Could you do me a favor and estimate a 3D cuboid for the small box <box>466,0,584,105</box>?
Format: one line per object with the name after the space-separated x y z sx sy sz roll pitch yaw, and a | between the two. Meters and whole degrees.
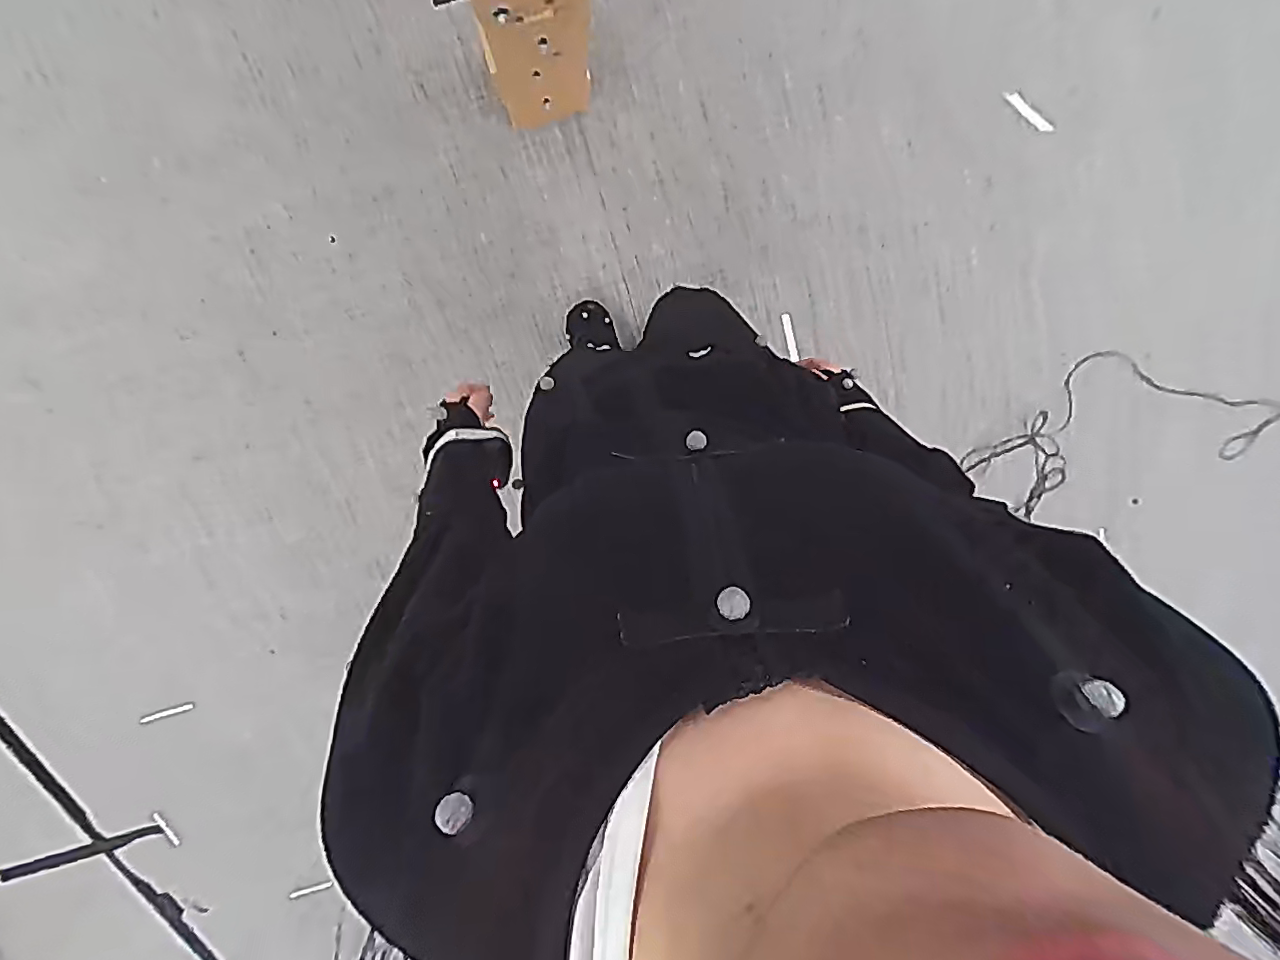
-0.202 -0.809 0.974 0.179 0.176 0.168 -15 110 -1 | small box

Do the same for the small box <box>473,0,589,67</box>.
-0.177 -0.763 0.820 0.168 0.176 0.179 -15 110 -1 | small box

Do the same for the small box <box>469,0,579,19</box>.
-0.162 -0.713 0.664 0.168 0.176 0.179 -16 109 -1 | small box

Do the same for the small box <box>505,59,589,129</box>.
-0.215 -0.866 1.128 0.179 0.176 0.168 -17 110 -1 | small box
